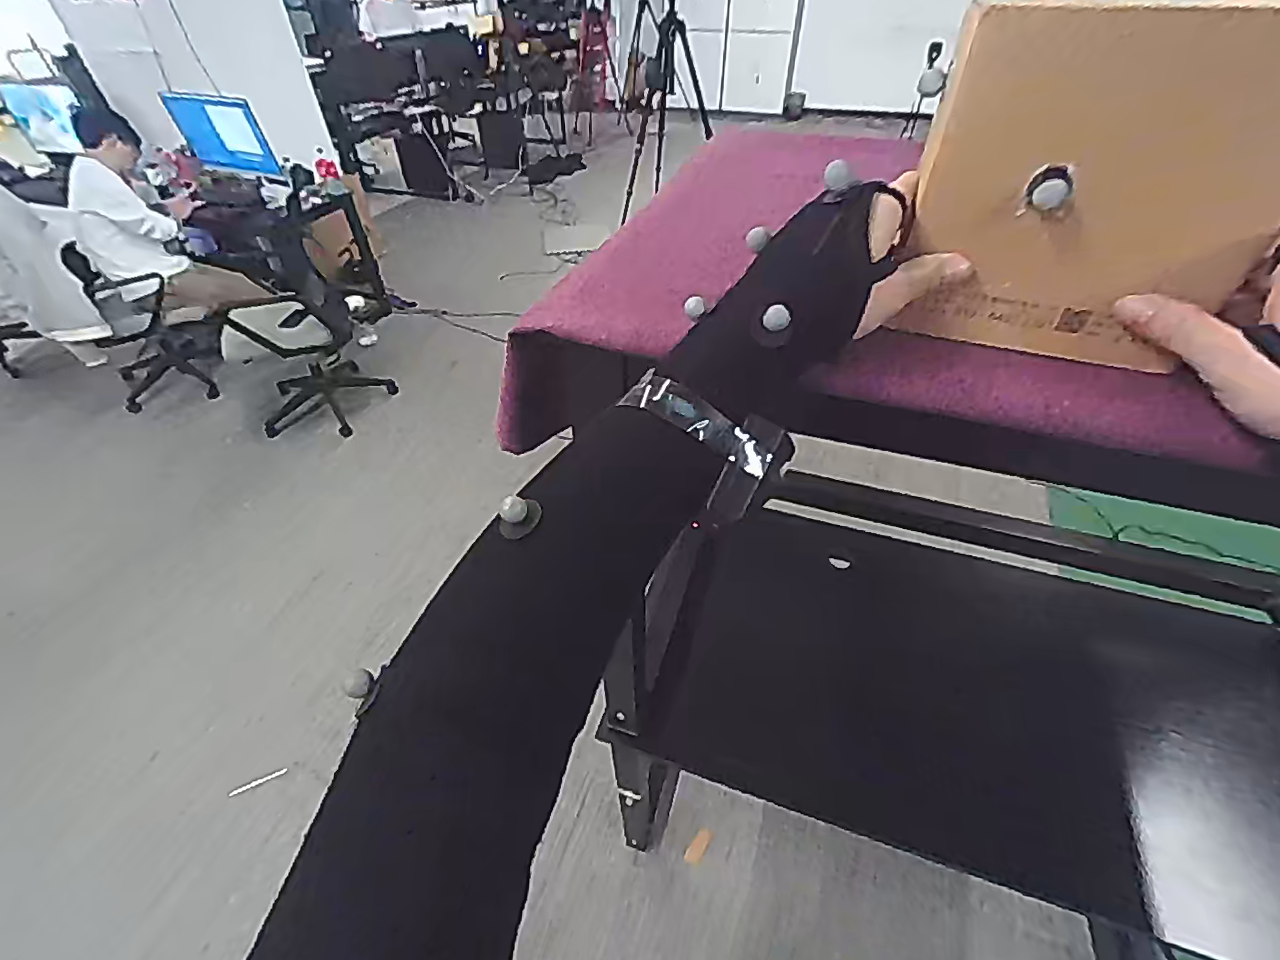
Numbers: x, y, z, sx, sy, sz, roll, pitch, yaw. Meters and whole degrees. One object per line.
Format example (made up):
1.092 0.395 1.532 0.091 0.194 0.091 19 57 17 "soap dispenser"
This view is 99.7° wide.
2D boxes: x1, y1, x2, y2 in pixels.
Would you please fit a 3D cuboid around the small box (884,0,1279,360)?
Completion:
0.266 -0.196 0.344 0.168 0.176 0.179 15 44 17 "small box"
